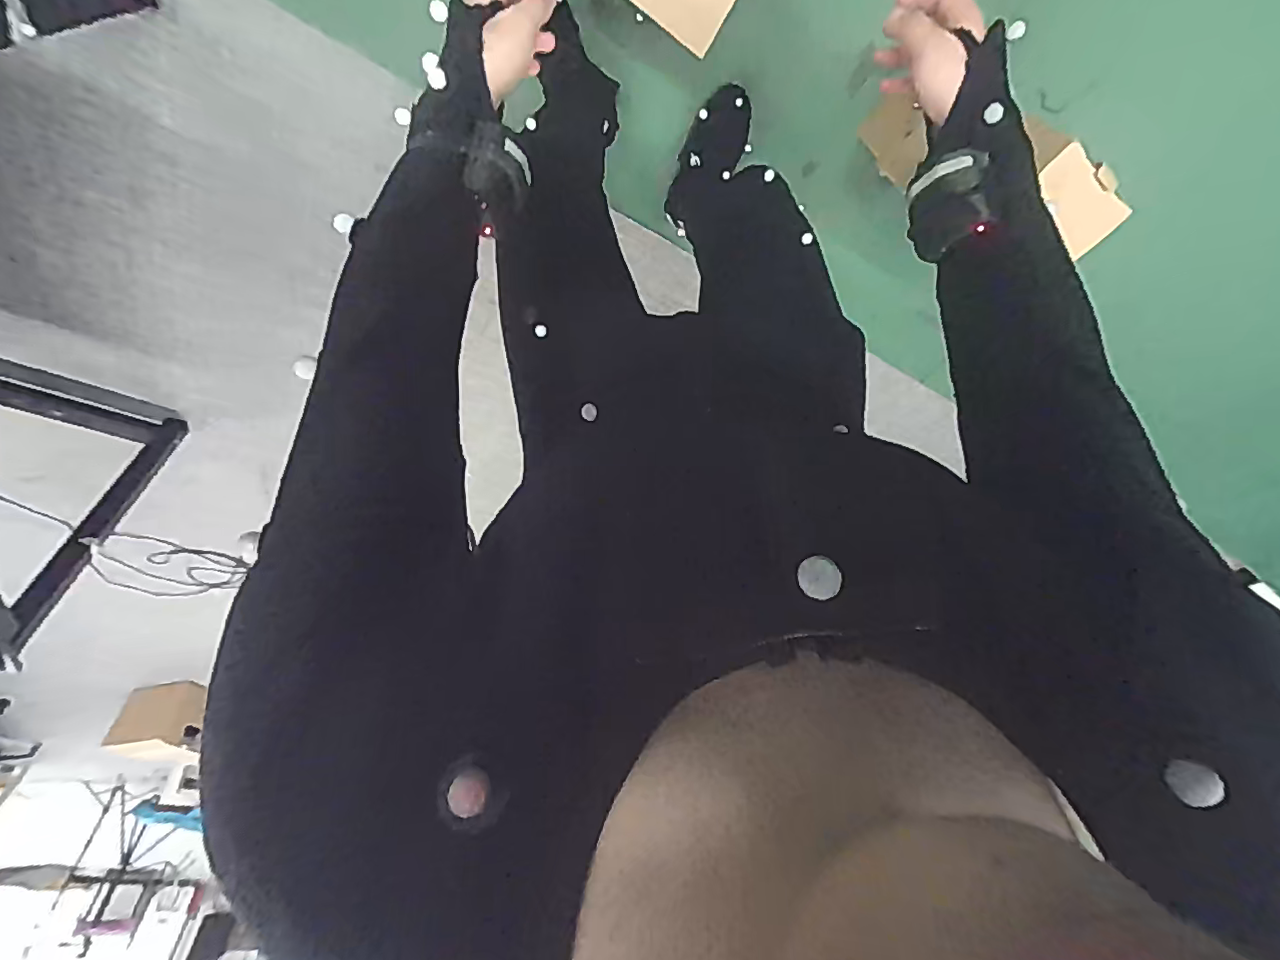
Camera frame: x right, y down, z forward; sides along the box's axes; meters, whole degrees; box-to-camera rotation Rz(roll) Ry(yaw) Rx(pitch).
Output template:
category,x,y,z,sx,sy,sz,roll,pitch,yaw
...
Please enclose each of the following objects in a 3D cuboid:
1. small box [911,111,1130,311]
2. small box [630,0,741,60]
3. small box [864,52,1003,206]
category,x,y,z,sx,sy,sz,roll,pitch,yaw
small box,0.545,-0.395,0.797,0.168,0.176,0.179,22,133,-27
small box,0.055,-0.692,0.689,0.179,0.176,0.168,21,134,-25
small box,0.546,-0.645,1.013,0.168,0.176,0.179,26,131,-29
